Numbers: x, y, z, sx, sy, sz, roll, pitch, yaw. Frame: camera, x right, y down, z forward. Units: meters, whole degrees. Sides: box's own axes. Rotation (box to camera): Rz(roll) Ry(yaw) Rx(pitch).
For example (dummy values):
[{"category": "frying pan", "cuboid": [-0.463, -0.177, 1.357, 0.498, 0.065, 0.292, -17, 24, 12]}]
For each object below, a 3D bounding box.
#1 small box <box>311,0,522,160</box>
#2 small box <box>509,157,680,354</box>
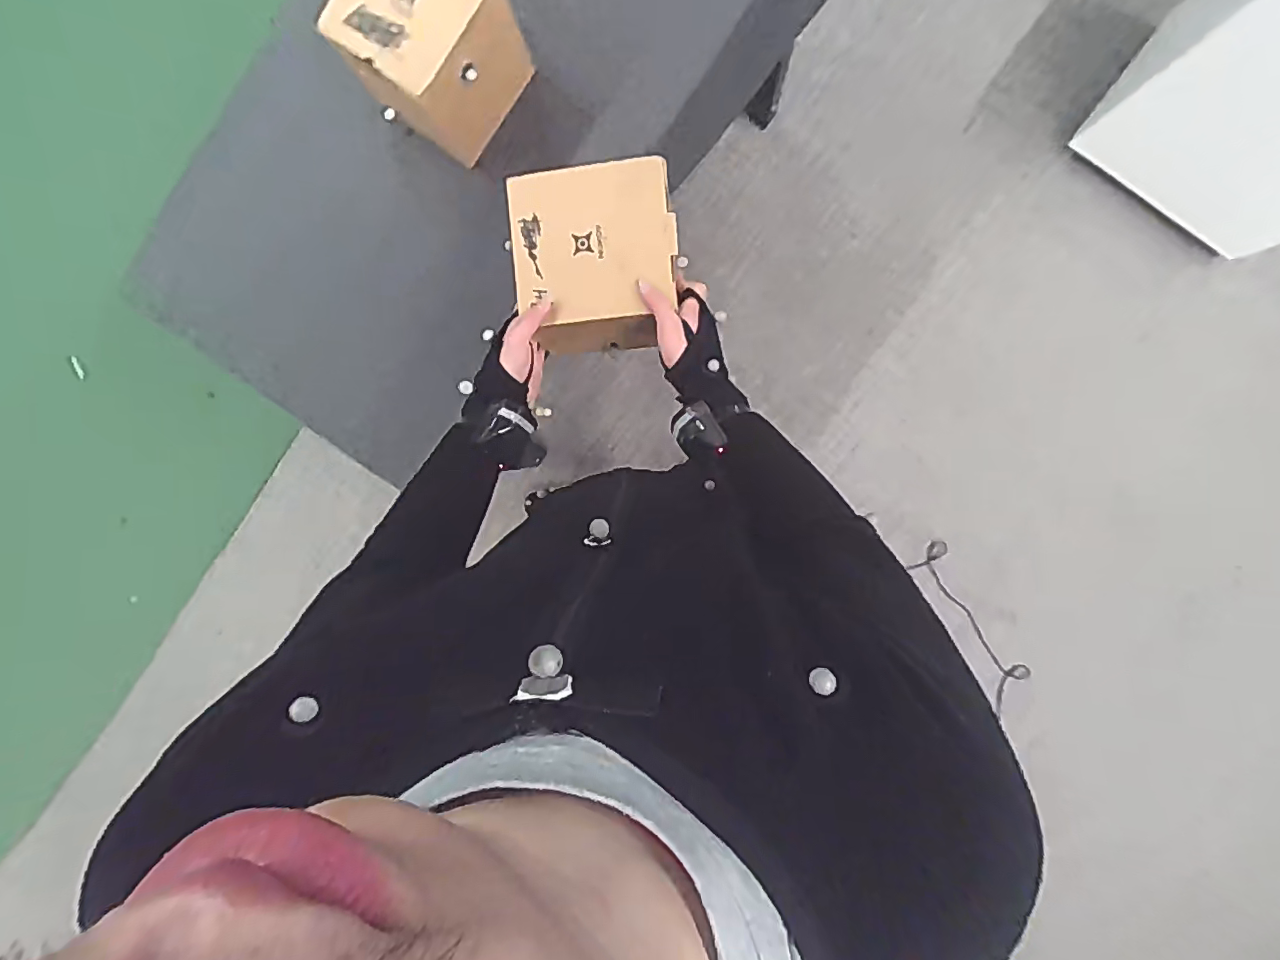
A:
[{"category": "small box", "cuboid": [-0.285, -0.585, 0.732, 0.168, 0.176, 0.179, 36, 94, 1]}, {"category": "small box", "cuboid": [-0.045, -0.256, 0.655, 0.179, 0.176, 0.168, -4, 90, 5]}]
